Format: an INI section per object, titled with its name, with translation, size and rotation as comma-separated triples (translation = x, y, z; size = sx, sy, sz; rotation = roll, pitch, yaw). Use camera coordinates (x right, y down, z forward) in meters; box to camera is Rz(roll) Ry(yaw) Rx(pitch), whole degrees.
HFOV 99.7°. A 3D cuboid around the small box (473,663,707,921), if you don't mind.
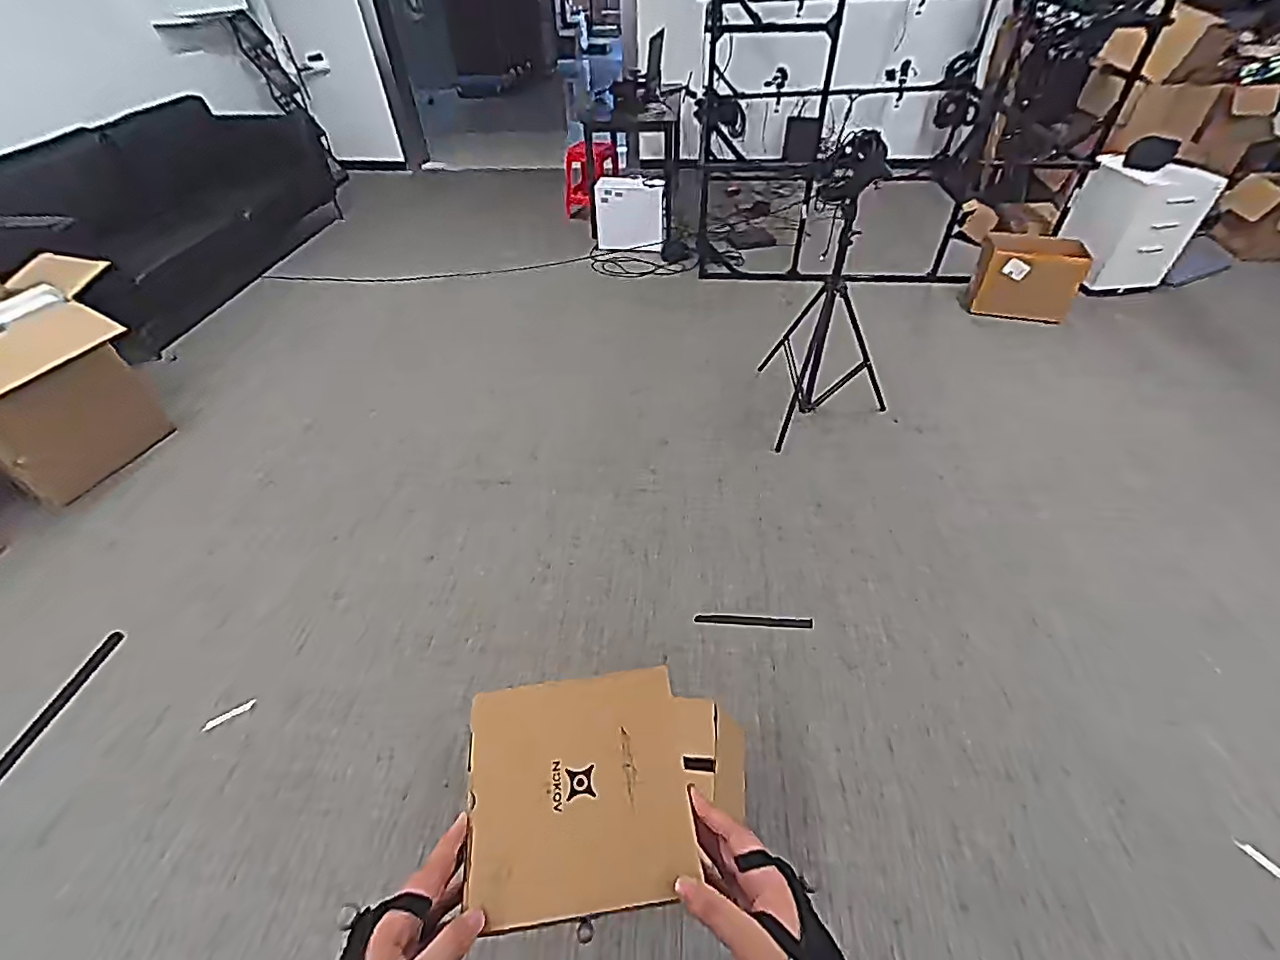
[small box]
translation = -0.042, 0.292, 0.502
size = 0.179, 0.176, 0.168
rotation = -8, 52, -4
